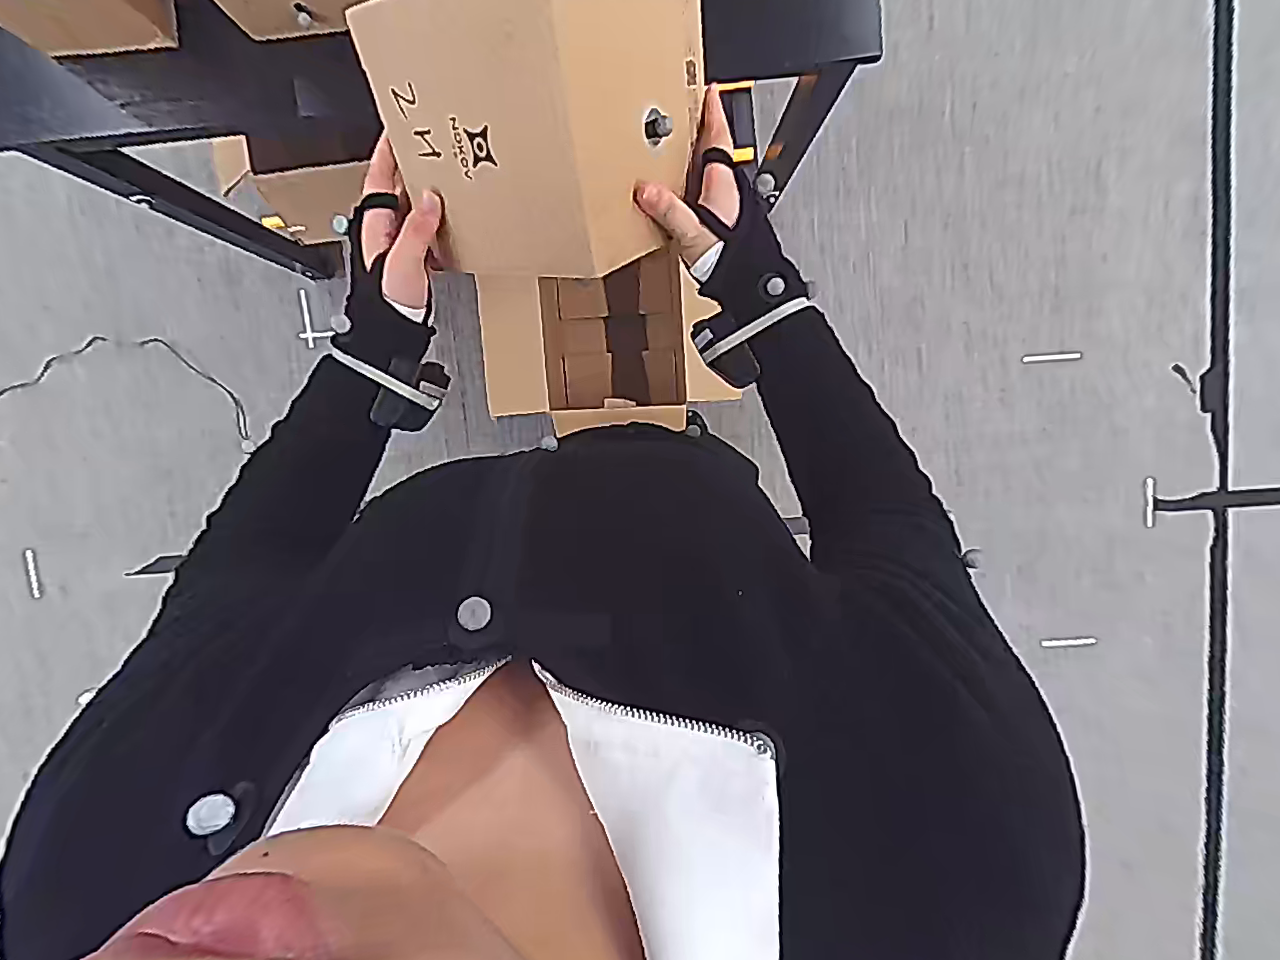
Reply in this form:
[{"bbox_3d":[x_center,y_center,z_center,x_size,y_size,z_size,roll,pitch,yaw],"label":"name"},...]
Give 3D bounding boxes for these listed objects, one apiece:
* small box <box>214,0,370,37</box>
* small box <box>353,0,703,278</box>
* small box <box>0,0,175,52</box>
[{"bbox_3d":[-0.421,-0.645,0.605,0.179,0.176,0.168,-7,95,-1],"label":"small box"},{"bbox_3d":[-0.061,-0.259,0.402,0.179,0.176,0.168,14,129,30],"label":"small box"},{"bbox_3d":[-0.684,-0.622,0.606,0.179,0.176,0.168,-4,96,-1],"label":"small box"}]
